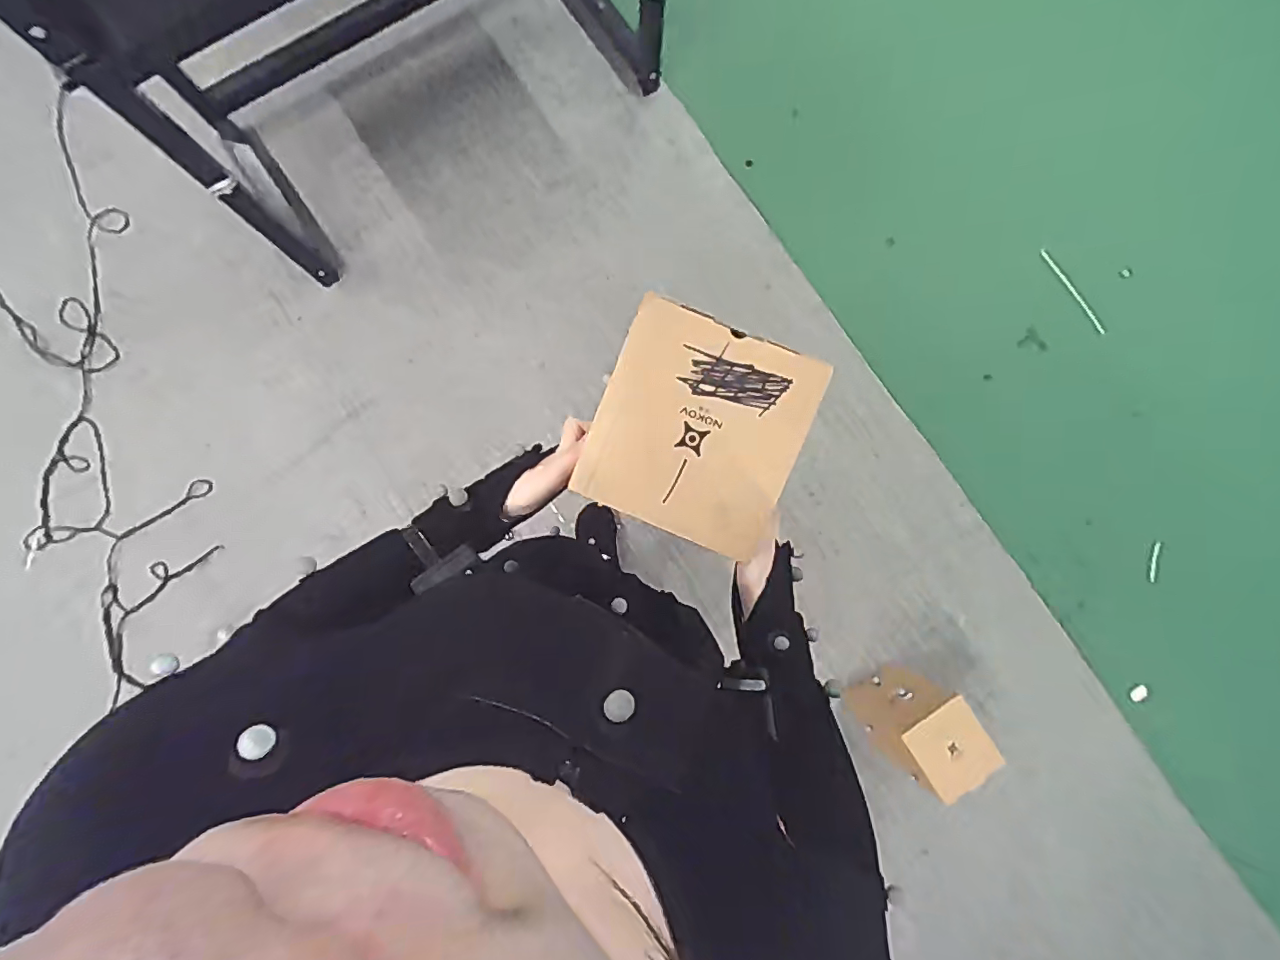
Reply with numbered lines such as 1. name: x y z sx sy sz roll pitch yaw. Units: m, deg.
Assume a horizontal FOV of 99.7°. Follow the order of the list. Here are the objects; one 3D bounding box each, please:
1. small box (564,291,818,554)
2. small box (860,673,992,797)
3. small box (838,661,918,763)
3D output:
1. small box: 0.045 -0.054 0.531 0.168 0.176 0.179 23 97 2
2. small box: 0.656 0.581 1.260 0.168 0.176 0.179 -32 85 -5
3. small box: 0.655 0.596 1.423 0.168 0.176 0.179 -29 85 -3
